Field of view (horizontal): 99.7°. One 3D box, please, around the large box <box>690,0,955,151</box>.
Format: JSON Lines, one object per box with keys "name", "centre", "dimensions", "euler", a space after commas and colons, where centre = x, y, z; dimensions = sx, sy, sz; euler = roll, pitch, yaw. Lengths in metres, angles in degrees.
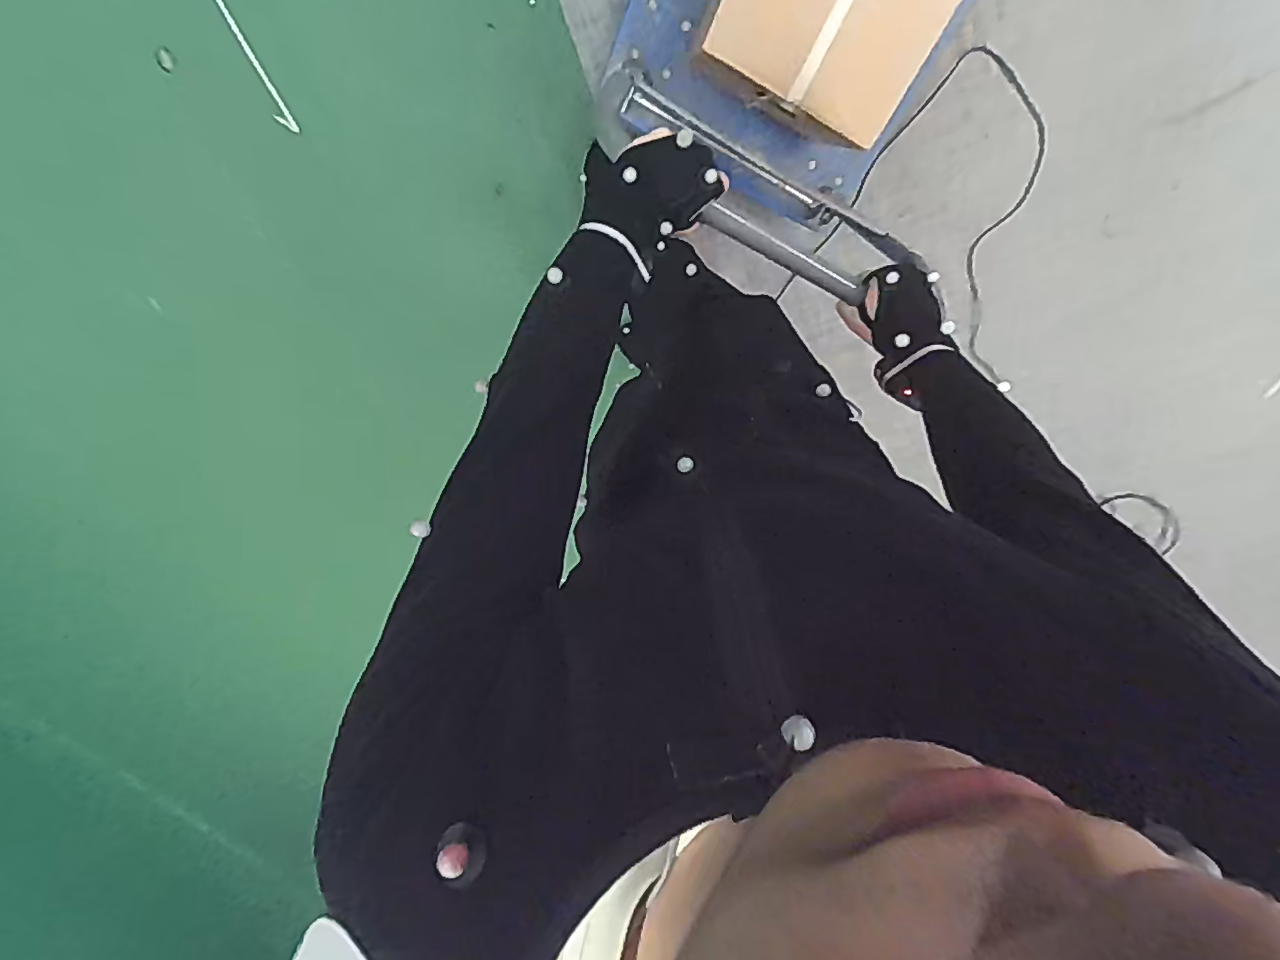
{"name": "large box", "centre": [0.311, -0.817, 0.873], "dimensions": [0.320, 0.320, 0.408], "euler": [21, 121, -15]}
